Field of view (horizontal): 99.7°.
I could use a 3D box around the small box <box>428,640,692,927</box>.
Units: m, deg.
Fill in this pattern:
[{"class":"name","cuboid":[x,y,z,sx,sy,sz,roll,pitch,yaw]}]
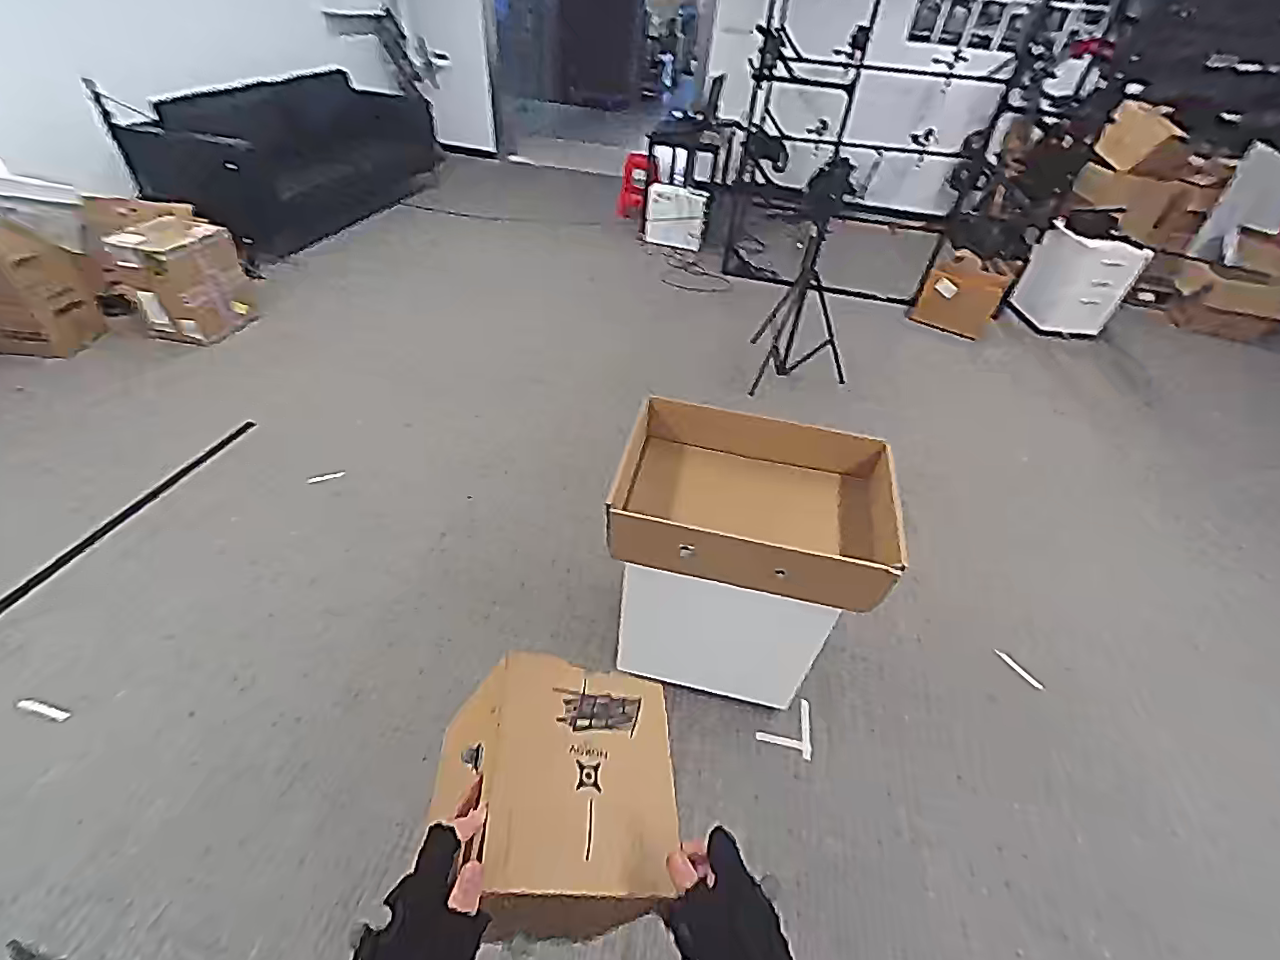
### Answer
[{"class":"small box","cuboid":[-0.076,0.278,0.492,0.168,0.176,0.179,21,38,-23]}]
